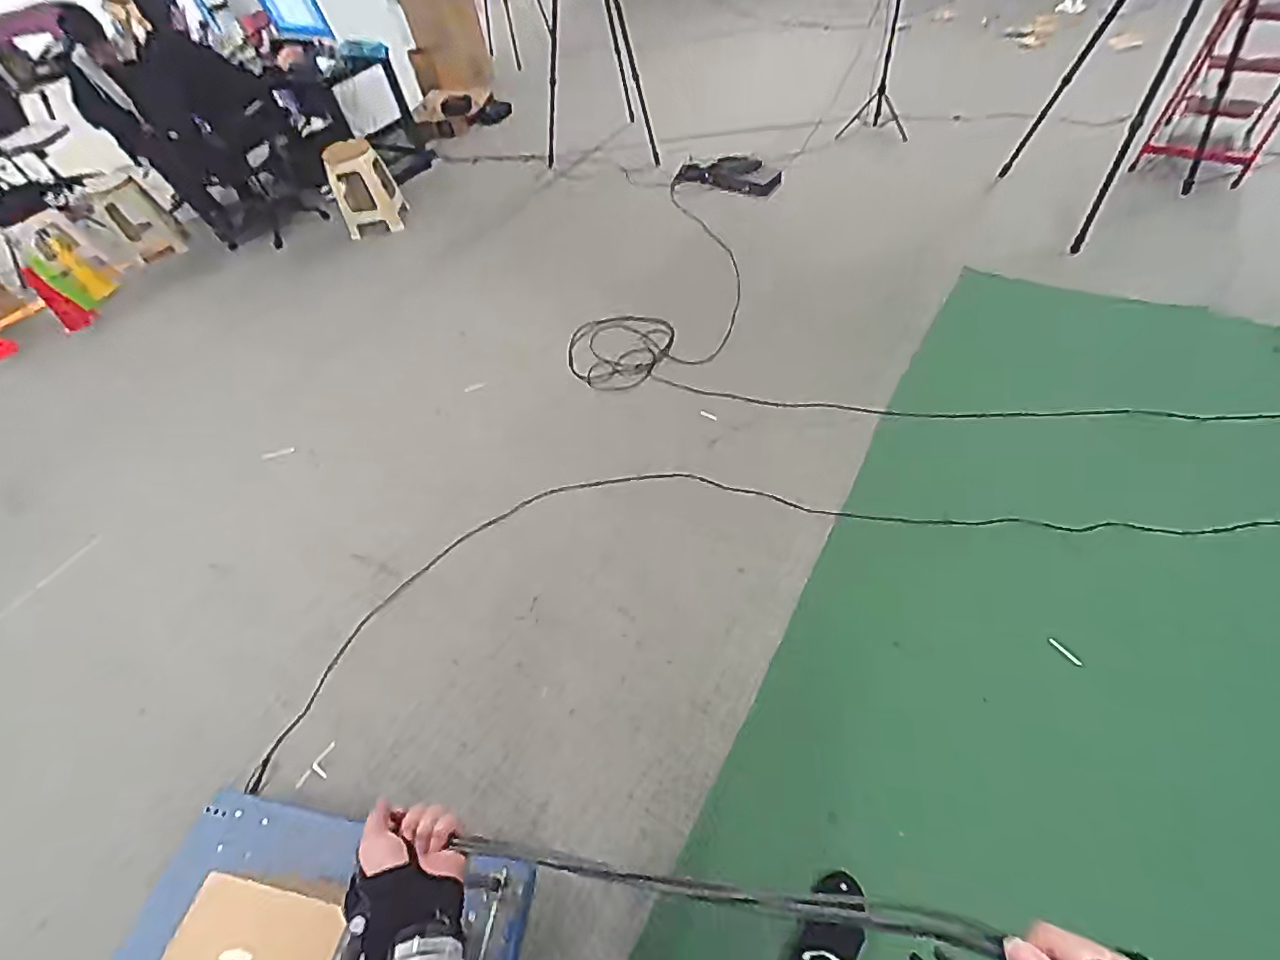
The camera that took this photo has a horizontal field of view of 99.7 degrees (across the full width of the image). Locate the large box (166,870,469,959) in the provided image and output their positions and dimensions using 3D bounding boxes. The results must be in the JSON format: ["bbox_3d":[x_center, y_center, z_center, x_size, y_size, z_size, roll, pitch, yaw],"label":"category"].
[{"bbox_3d":[-0.592,0.934,0.976,0.408,0.320,0.320,4,52,13],"label":"large box"}]
